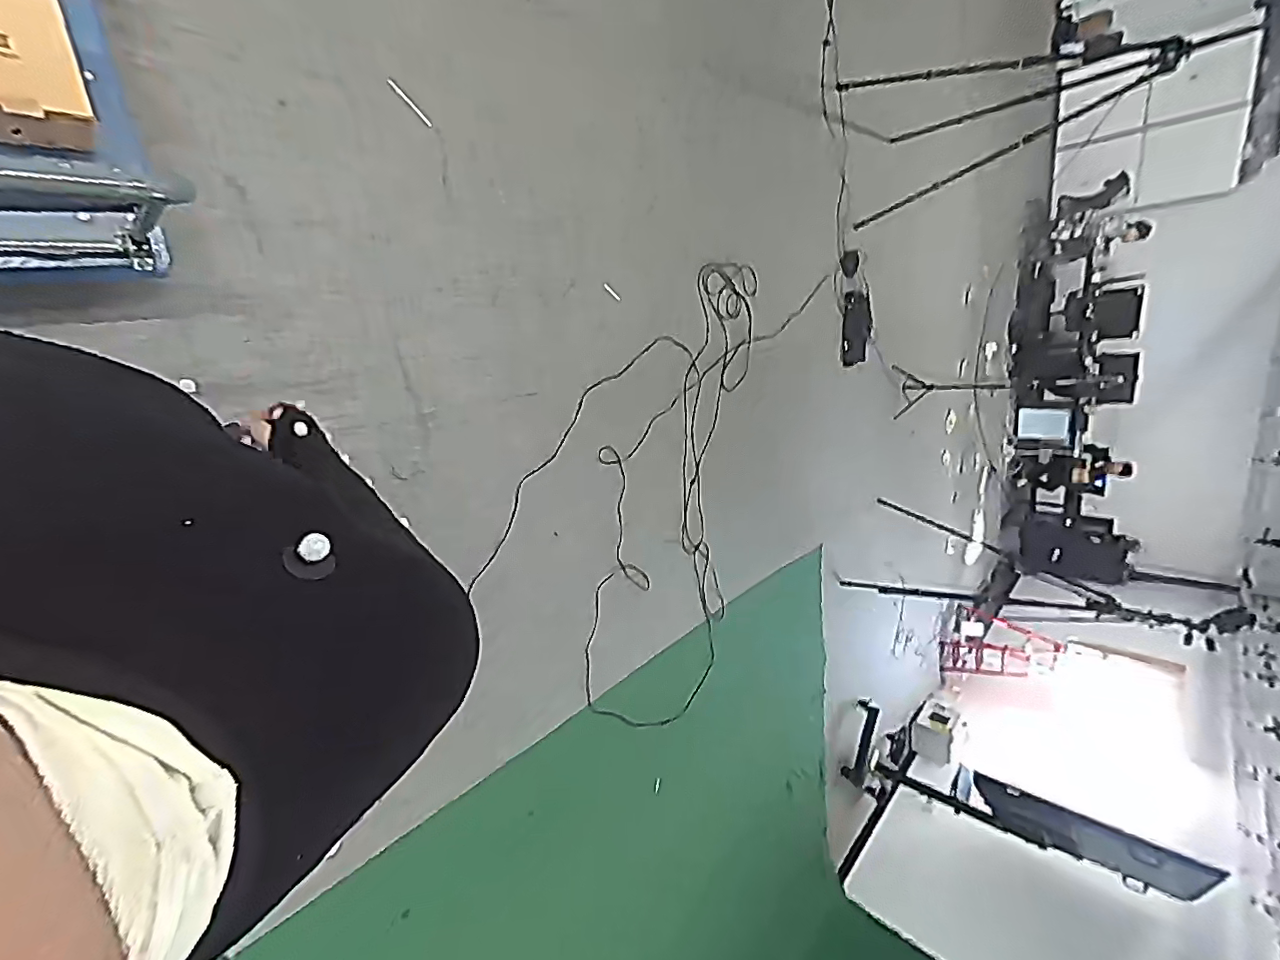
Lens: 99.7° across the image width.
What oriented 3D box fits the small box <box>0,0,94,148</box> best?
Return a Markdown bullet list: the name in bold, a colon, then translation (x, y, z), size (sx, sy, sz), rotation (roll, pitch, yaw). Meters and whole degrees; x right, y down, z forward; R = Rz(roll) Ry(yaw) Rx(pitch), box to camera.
- **small box**: translation (-1.023, -0.668, 0.869), size (0.168, 0.176, 0.179), rotation (-21, 111, -42)
